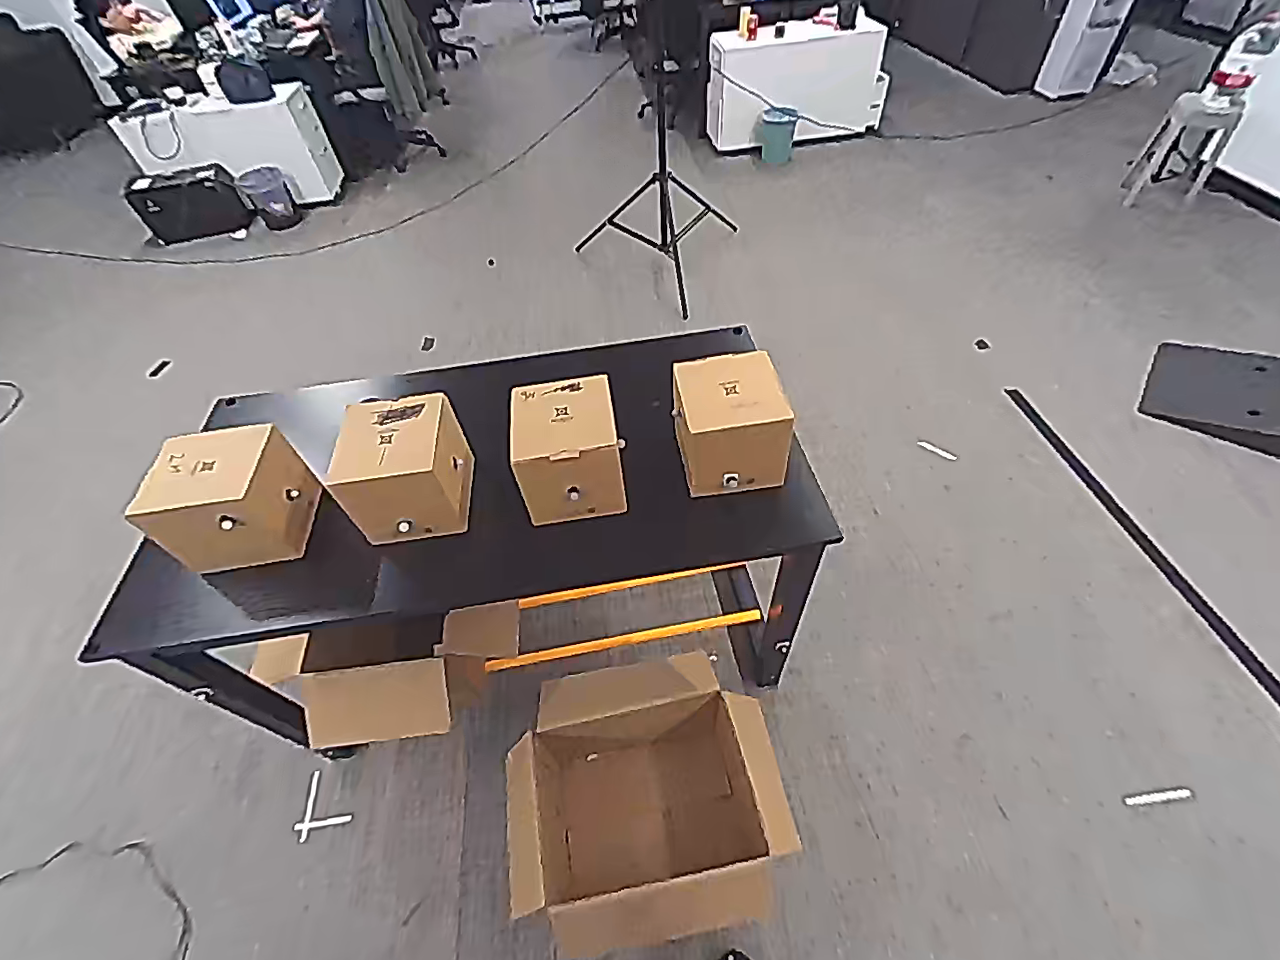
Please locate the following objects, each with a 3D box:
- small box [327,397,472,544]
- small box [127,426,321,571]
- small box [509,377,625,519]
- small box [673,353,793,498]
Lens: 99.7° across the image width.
[{"bbox_3d":[-0.395,-0.015,0.927,0.168,0.176,0.179,-8,51,-1],"label":"small box"},{"bbox_3d":[-0.676,0.034,0.909,0.179,0.176,0.168,-9,50,-3],"label":"small box"},{"bbox_3d":[-0.121,-0.048,0.932,0.168,0.176,0.179,-9,50,-2],"label":"small box"},{"bbox_3d":[0.152,-0.094,0.946,0.168,0.176,0.179,-9,50,-1],"label":"small box"}]
